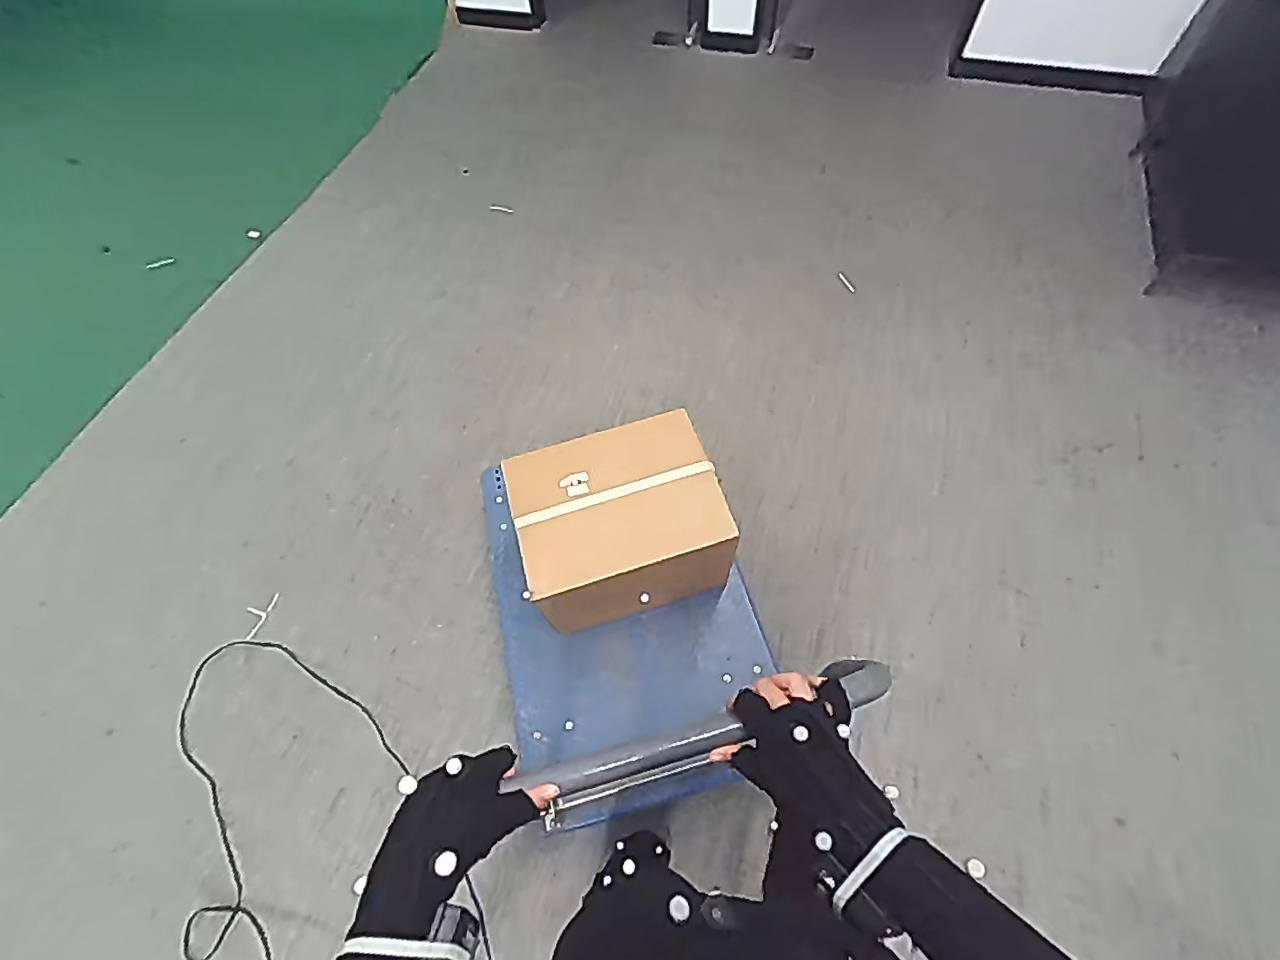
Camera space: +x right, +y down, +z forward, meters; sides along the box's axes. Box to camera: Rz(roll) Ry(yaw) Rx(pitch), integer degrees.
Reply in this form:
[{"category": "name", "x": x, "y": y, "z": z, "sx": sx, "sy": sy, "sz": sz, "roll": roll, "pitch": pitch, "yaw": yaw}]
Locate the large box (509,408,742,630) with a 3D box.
[{"category": "large box", "x": -0.029, "y": 0.098, "z": 1.203, "sx": 0.408, "sy": 0.320, "sz": 0.320, "roll": -17, "pitch": 62, "yaw": -5}]
